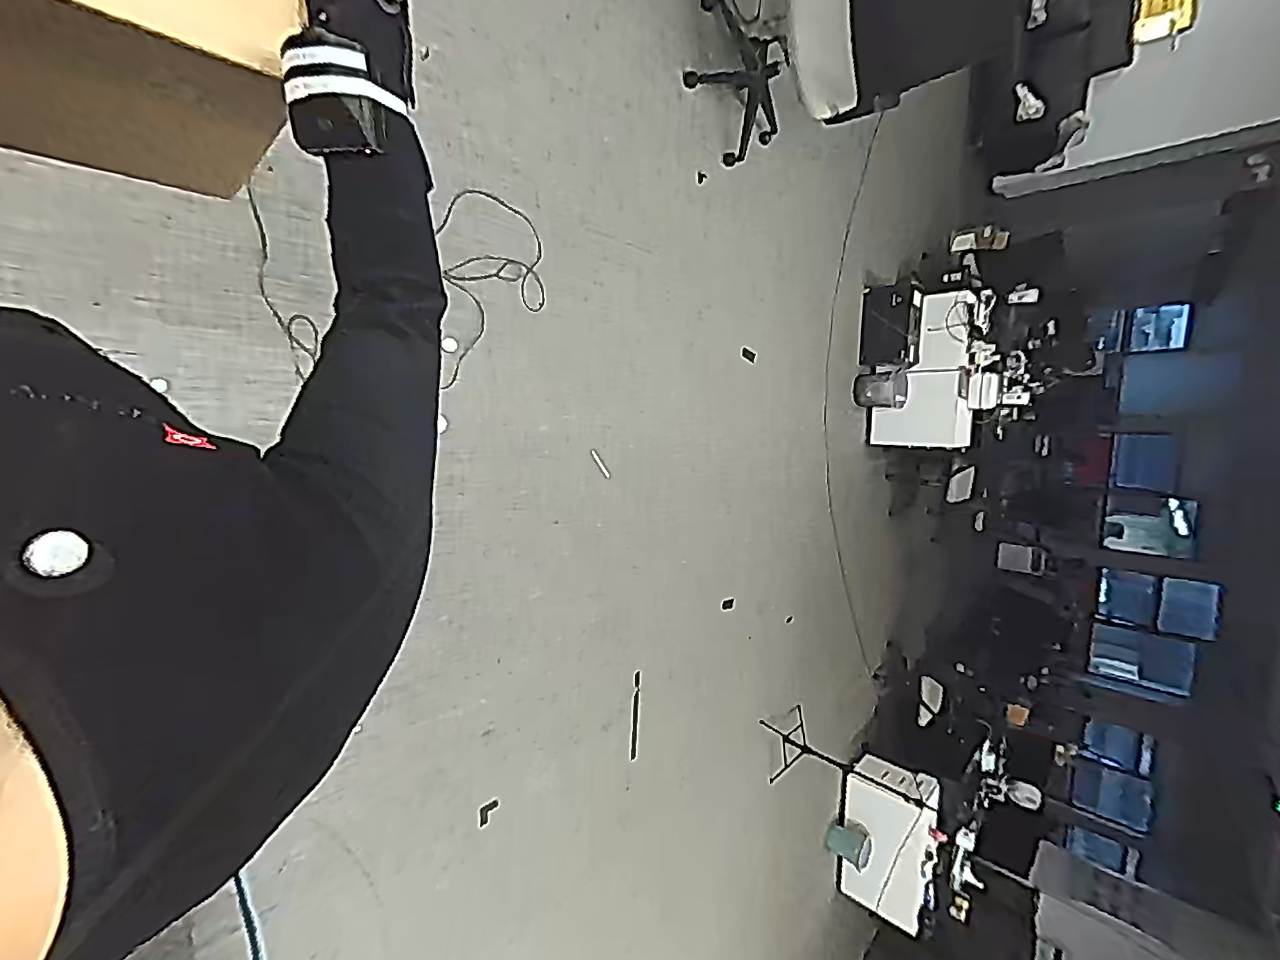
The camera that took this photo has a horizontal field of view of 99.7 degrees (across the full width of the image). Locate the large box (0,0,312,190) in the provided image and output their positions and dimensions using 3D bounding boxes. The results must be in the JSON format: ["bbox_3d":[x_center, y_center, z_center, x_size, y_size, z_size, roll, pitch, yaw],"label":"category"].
[{"bbox_3d":[-0.487,-0.435,0.340,0.408,0.320,0.320,-7,101,-45],"label":"large box"}]
